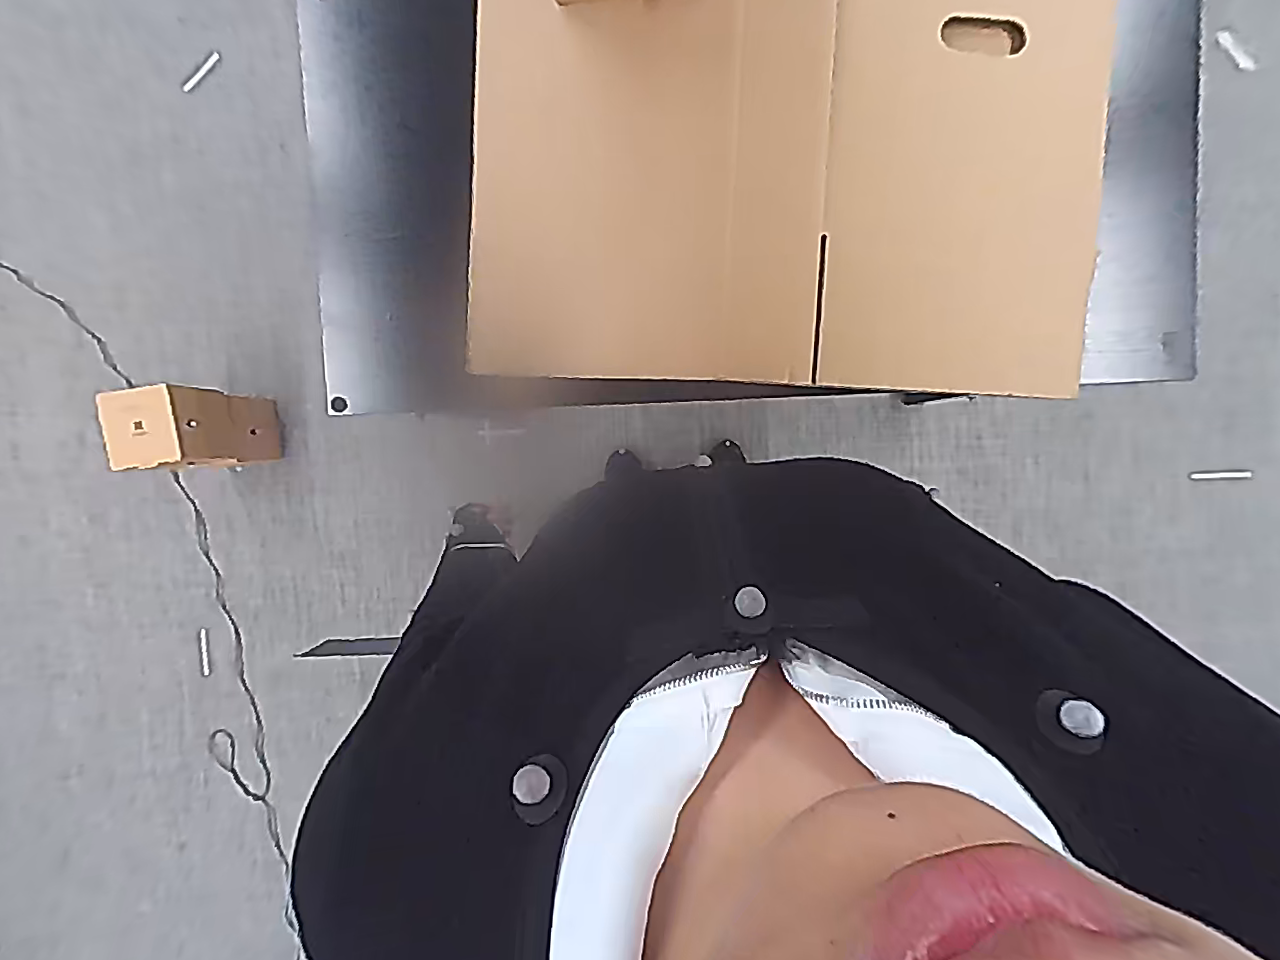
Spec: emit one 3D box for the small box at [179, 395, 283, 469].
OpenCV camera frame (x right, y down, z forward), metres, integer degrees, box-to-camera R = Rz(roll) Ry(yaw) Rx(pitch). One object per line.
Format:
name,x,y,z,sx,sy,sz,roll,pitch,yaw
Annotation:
small box,-1.099,-0.126,1.445,0.168,0.176,0.179,-6,94,2

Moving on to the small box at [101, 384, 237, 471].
small box,-1.104,-0.122,1.282,0.168,0.176,0.179,-9,93,1
